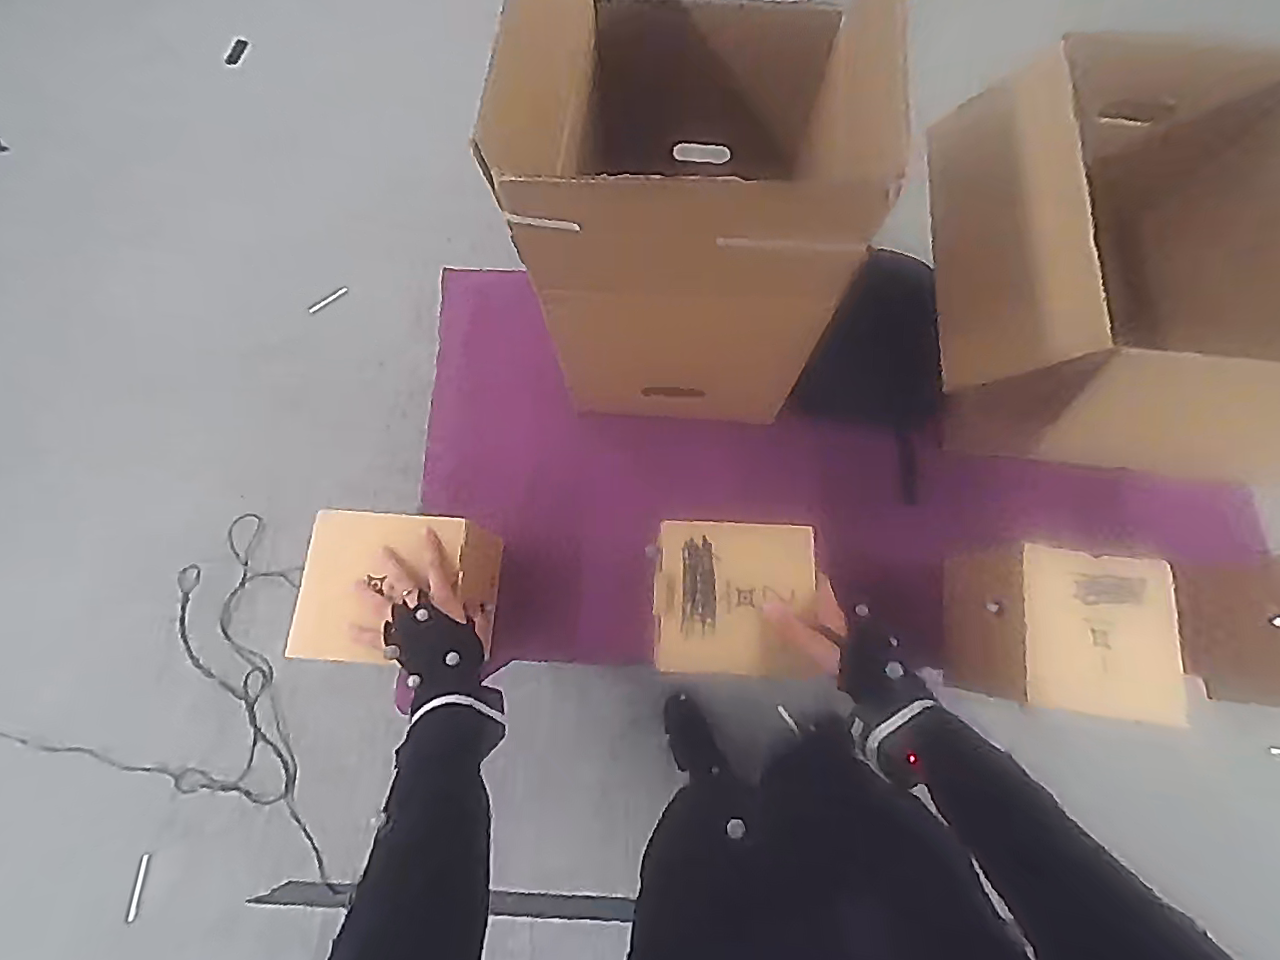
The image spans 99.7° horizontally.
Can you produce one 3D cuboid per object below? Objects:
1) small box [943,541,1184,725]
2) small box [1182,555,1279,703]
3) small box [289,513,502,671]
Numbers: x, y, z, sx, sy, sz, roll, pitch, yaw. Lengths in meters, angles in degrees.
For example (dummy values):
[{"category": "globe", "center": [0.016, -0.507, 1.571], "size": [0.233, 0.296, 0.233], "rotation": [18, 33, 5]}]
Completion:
[{"category": "small box", "center": [0.496, 0.181, 0.662], "size": [0.168, 0.176, 0.179], "rotation": [7, 76, 3]}, {"category": "small box", "center": [0.829, 0.182, 0.658], "size": [0.168, 0.176, 0.179], "rotation": [0, 74, 1]}, {"category": "small box", "center": [-0.287, 0.143, 0.677], "size": [0.179, 0.176, 0.168], "rotation": [4, 74, 0]}]
